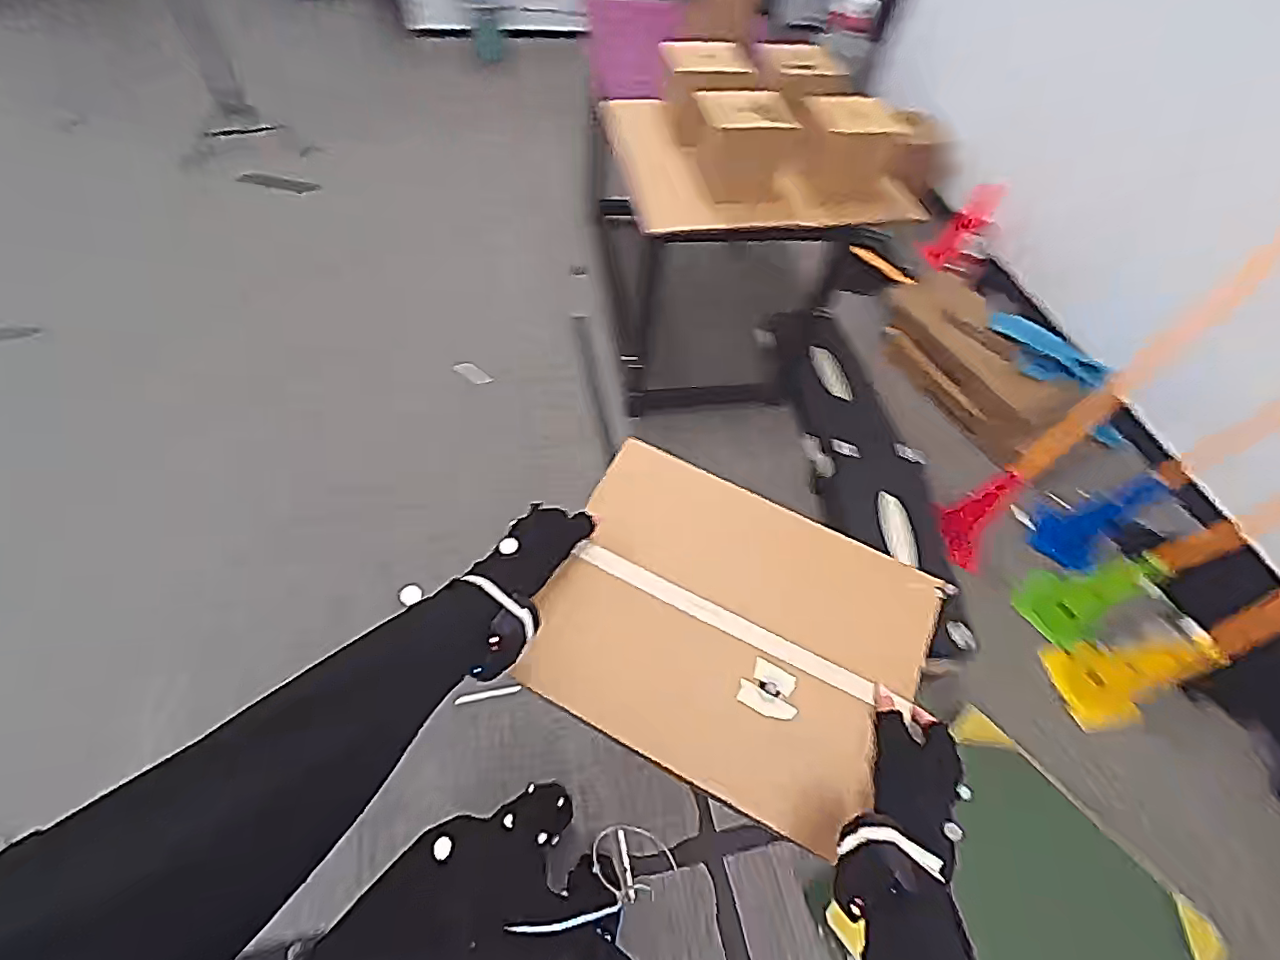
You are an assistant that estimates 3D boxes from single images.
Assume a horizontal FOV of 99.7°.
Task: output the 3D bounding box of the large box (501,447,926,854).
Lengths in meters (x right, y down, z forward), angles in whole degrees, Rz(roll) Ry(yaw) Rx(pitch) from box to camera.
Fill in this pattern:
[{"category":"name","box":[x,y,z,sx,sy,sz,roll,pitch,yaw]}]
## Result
[{"category":"large box","box":[0.086,0.219,0.735,0.408,0.320,0.320,25,67,10]}]
